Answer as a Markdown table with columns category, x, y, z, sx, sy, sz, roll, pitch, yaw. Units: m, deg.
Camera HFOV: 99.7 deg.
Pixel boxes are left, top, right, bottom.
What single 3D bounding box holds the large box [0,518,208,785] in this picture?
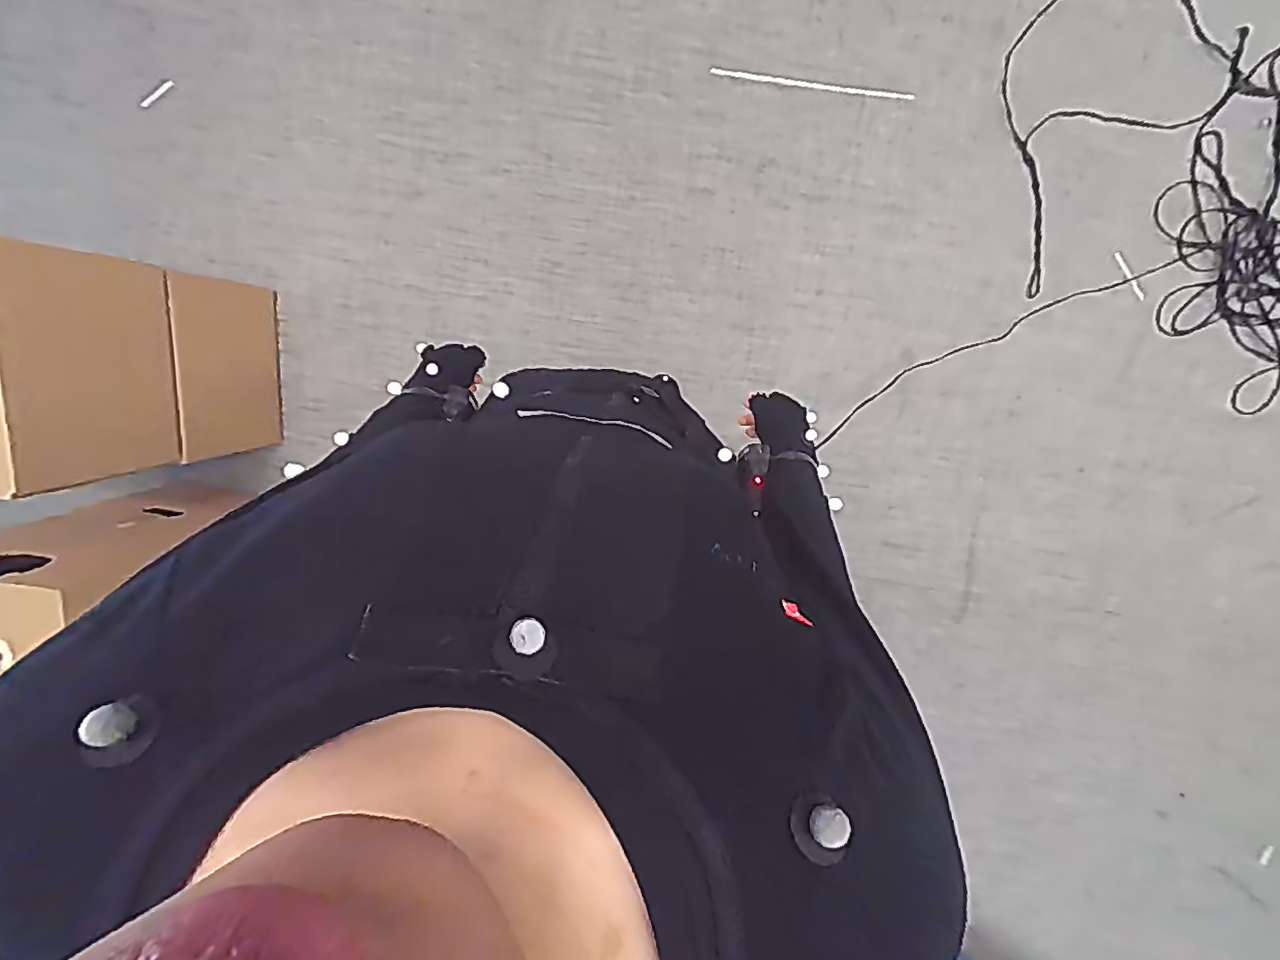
| category | x | y | z | sx | sy | sz | roll | pitch | yaw |
| --- | --- | --- | --- | --- | --- | --- | --- | --- | --- |
| large box | -1.156 | 0.325 | 1.103 | 0.320 | 0.320 | 0.408 | 8 | 102 | -2 |
